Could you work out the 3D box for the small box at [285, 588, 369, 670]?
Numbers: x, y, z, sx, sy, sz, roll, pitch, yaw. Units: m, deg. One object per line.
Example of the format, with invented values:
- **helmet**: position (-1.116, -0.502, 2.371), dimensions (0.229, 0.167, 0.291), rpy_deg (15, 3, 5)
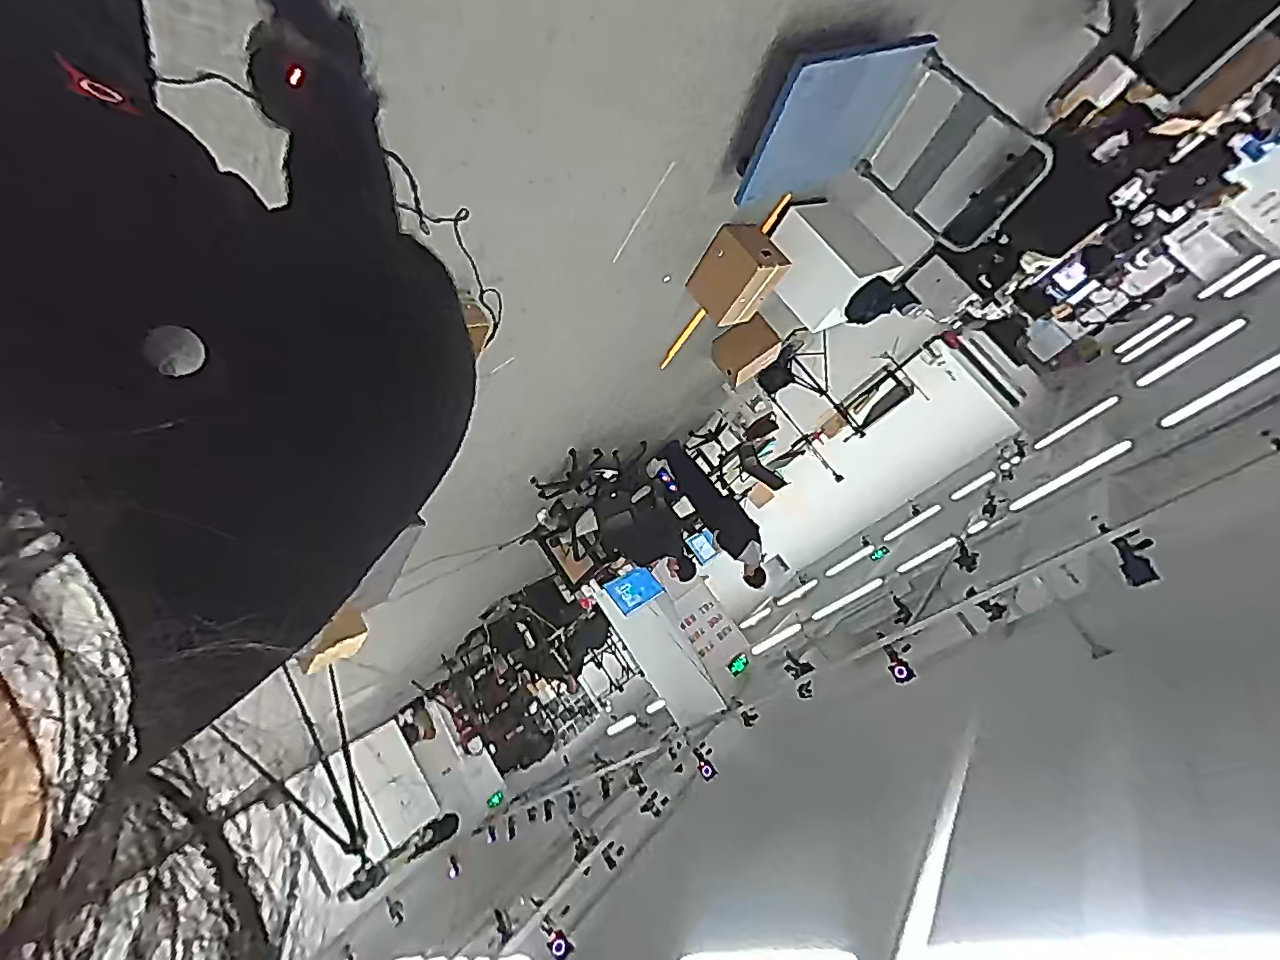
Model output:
- **small box**: position (-1.003, 0.466, 1.726), dimensions (0.168, 0.176, 0.179), rpy_deg (-19, 158, -50)
